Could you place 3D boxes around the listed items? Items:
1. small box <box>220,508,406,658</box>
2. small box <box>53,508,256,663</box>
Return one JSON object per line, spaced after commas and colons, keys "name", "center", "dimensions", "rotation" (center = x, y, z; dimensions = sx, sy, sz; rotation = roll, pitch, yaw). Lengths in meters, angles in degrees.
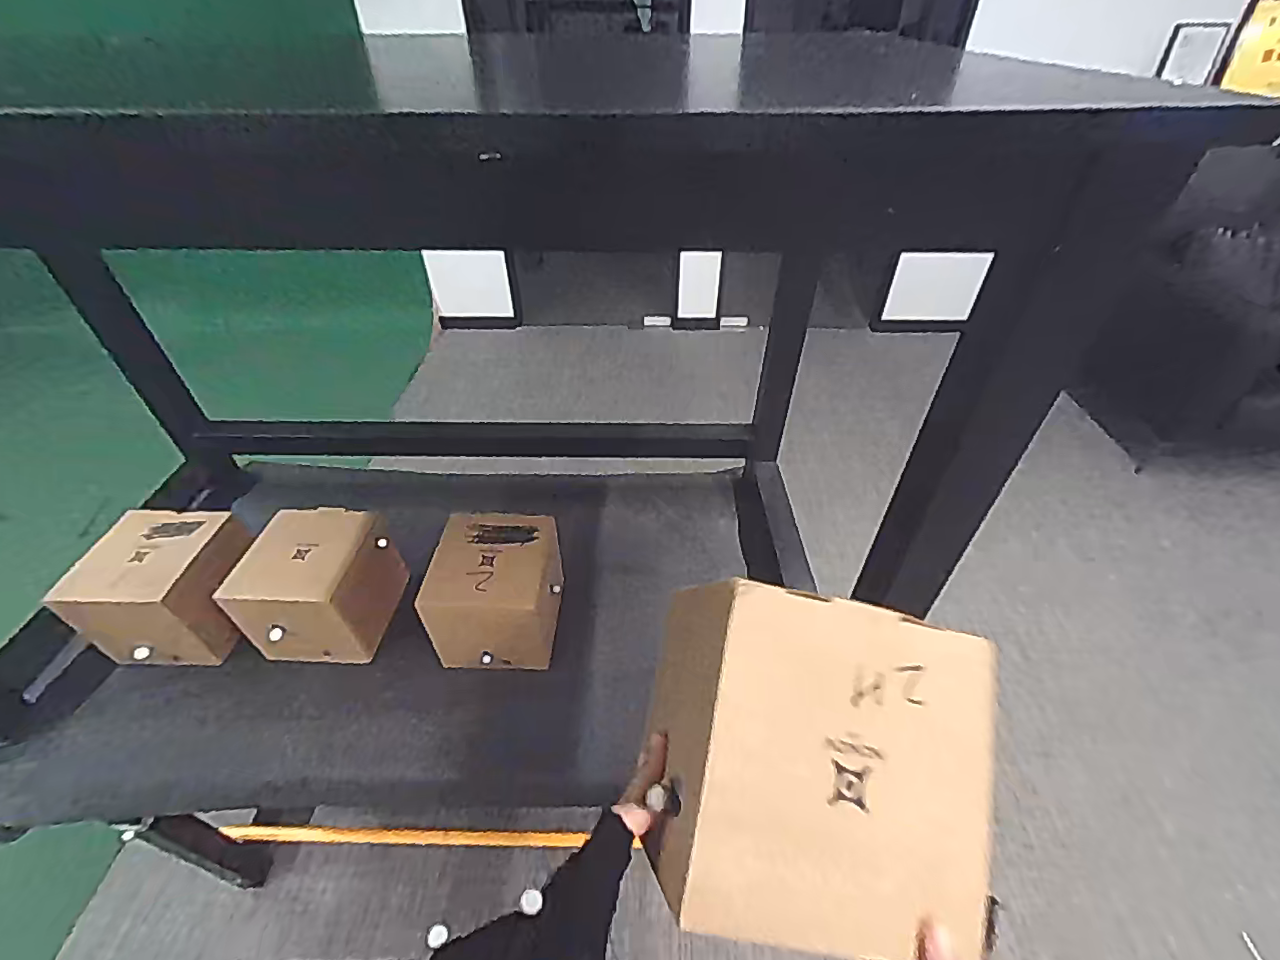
{"name": "small box", "center": [-0.496, 0.164, 0.858], "dimensions": [0.168, 0.176, 0.179], "rotation": [1, 41, 1]}
{"name": "small box", "center": [-0.724, 0.164, 0.853], "dimensions": [0.168, 0.176, 0.179], "rotation": [1, 42, 0]}
